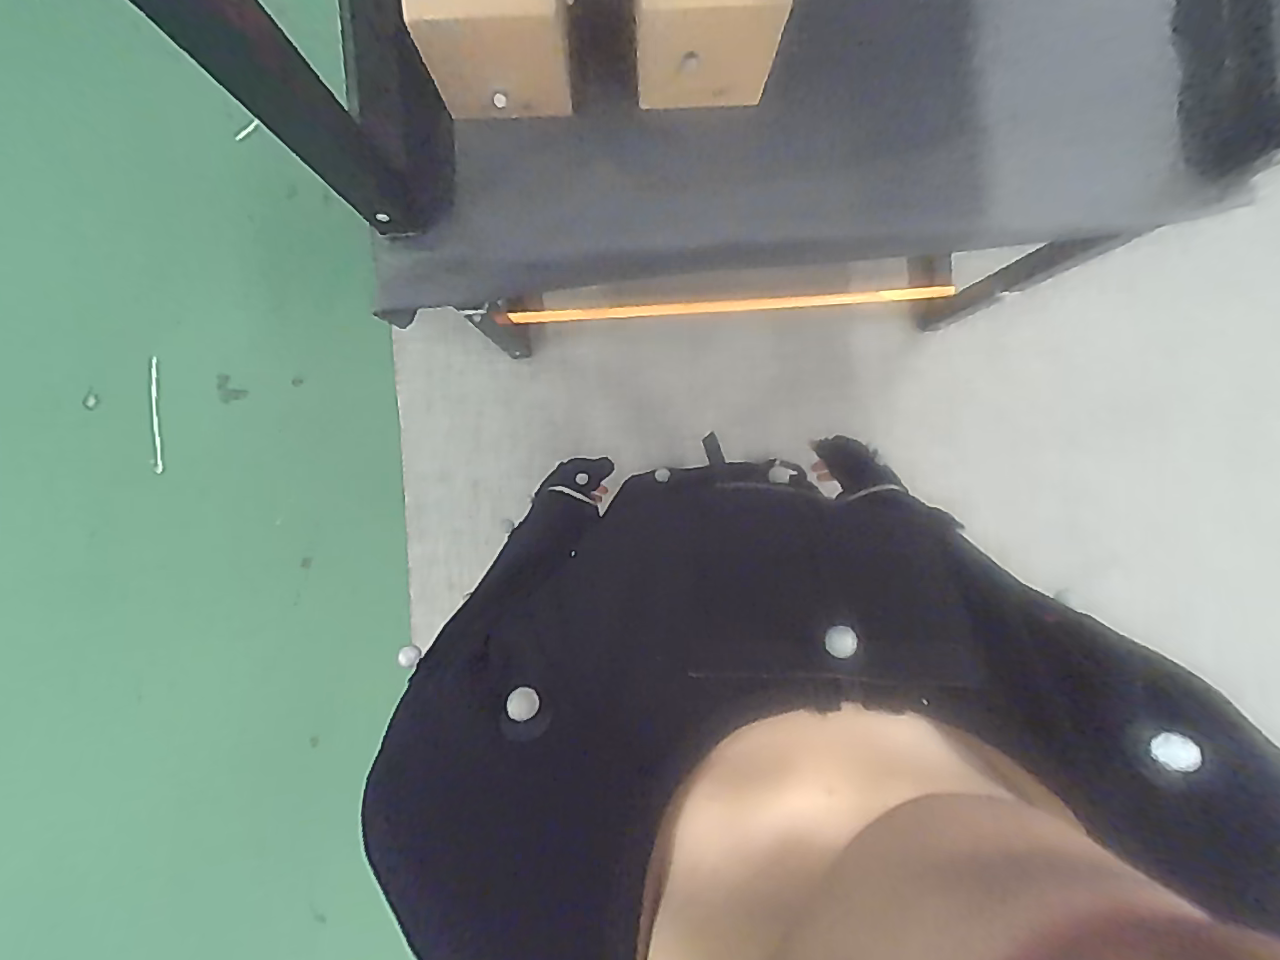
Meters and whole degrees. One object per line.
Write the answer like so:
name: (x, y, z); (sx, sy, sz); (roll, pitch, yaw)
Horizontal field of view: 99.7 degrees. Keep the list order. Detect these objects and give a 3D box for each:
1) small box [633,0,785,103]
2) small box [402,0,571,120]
small box: (0.075, -0.597, 0.663); (0.168, 0.176, 0.179); (-3, 91, -1)
small box: (-0.178, -0.581, 0.658); (0.168, 0.176, 0.179); (-3, 91, 0)
